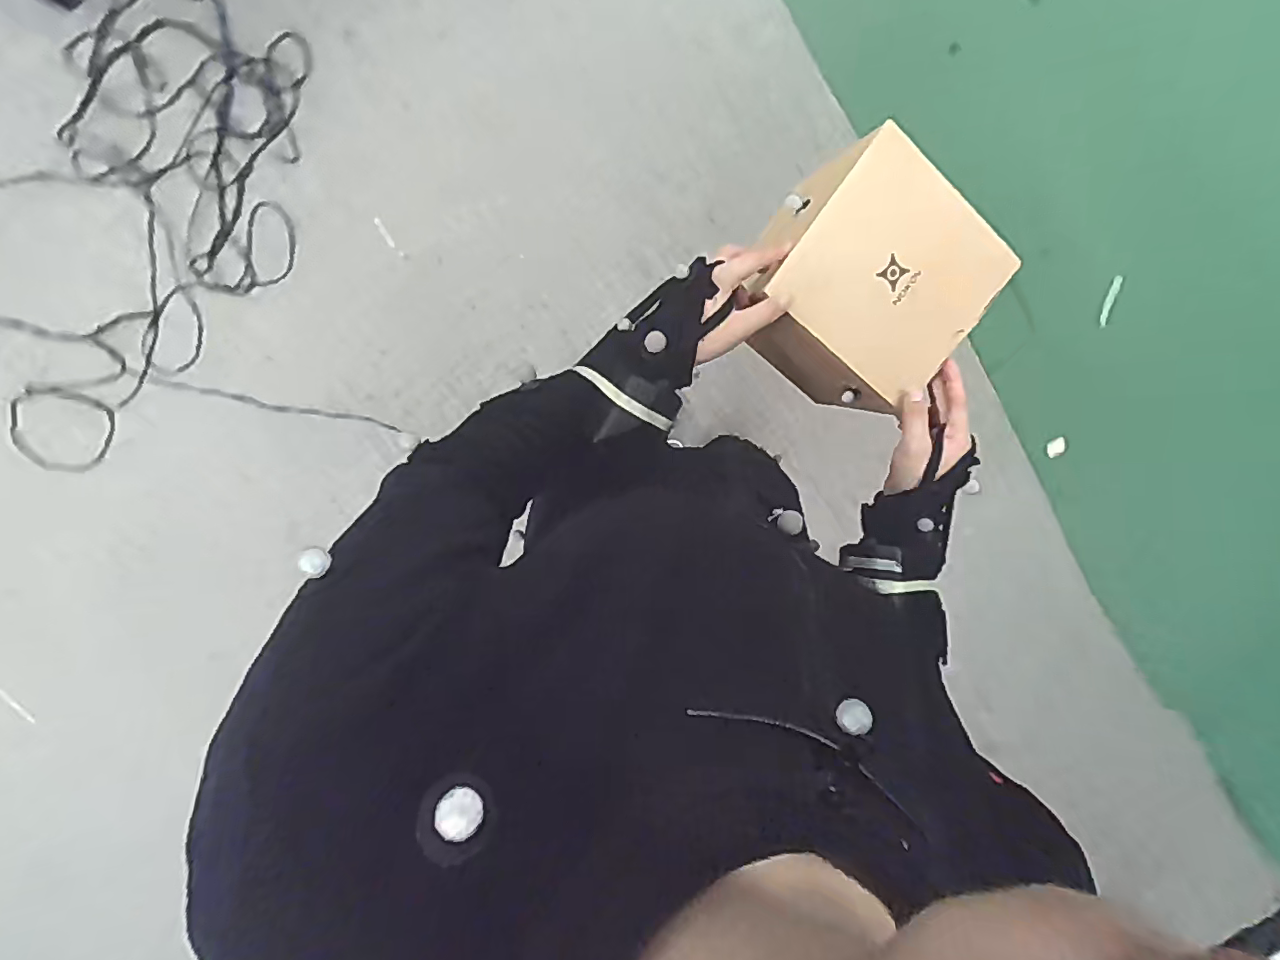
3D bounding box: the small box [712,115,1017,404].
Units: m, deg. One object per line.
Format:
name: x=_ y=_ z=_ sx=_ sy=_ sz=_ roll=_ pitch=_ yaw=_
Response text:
small box: x=0.196 y=-0.191 z=0.526 sx=0.179 sy=0.176 sz=0.168 roll=33 pitch=95 yaw=-15
